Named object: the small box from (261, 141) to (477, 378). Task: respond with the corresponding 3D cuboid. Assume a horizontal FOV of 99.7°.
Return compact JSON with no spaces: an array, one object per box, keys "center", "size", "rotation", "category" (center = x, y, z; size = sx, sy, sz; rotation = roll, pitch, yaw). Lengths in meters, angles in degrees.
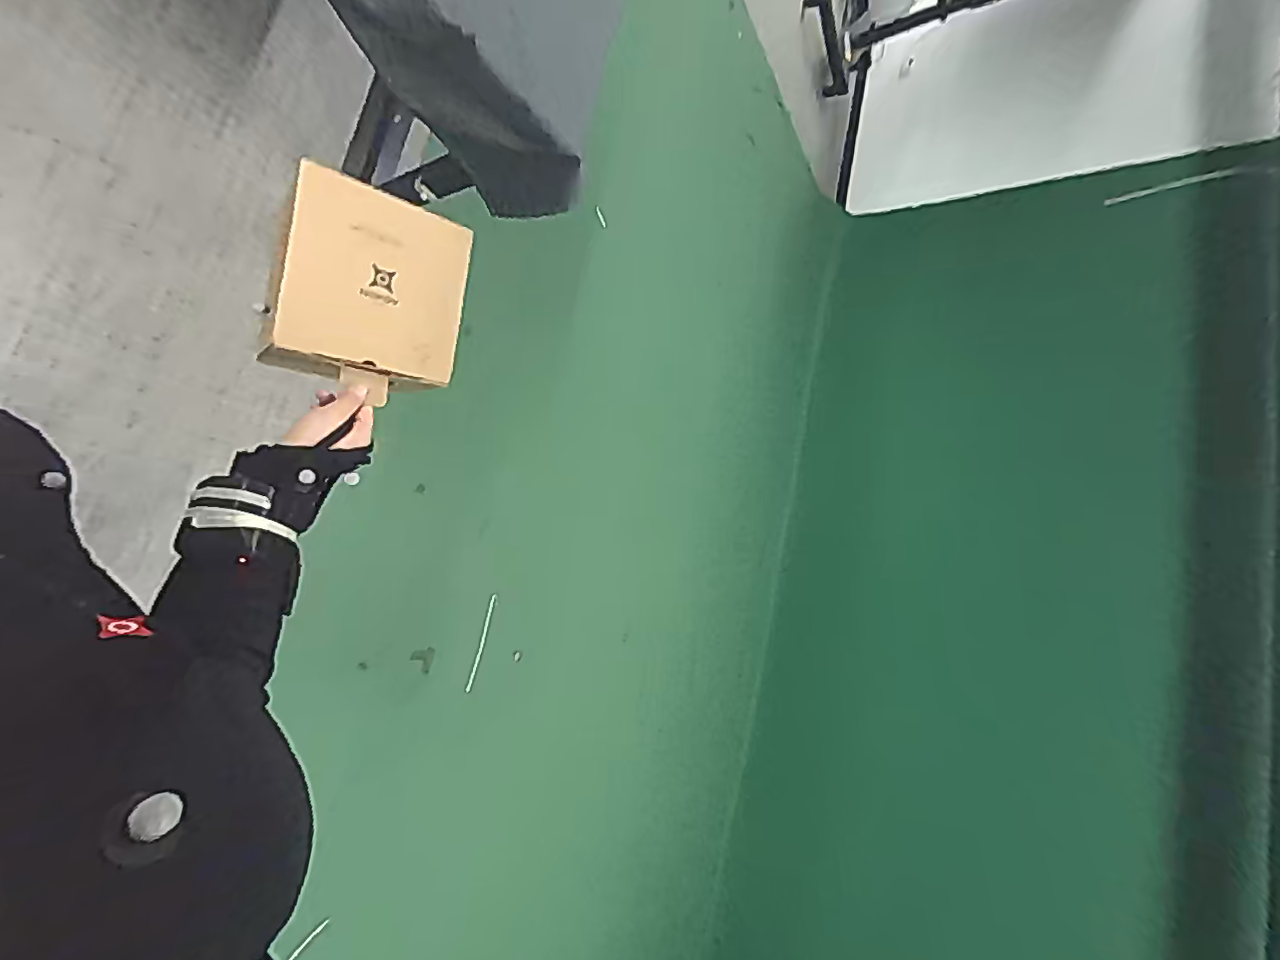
[{"center":[-0.299,-0.214,0.588],"size":[0.168,0.176,0.179],"rotation":[8,90,-40],"category":"small box"}]
